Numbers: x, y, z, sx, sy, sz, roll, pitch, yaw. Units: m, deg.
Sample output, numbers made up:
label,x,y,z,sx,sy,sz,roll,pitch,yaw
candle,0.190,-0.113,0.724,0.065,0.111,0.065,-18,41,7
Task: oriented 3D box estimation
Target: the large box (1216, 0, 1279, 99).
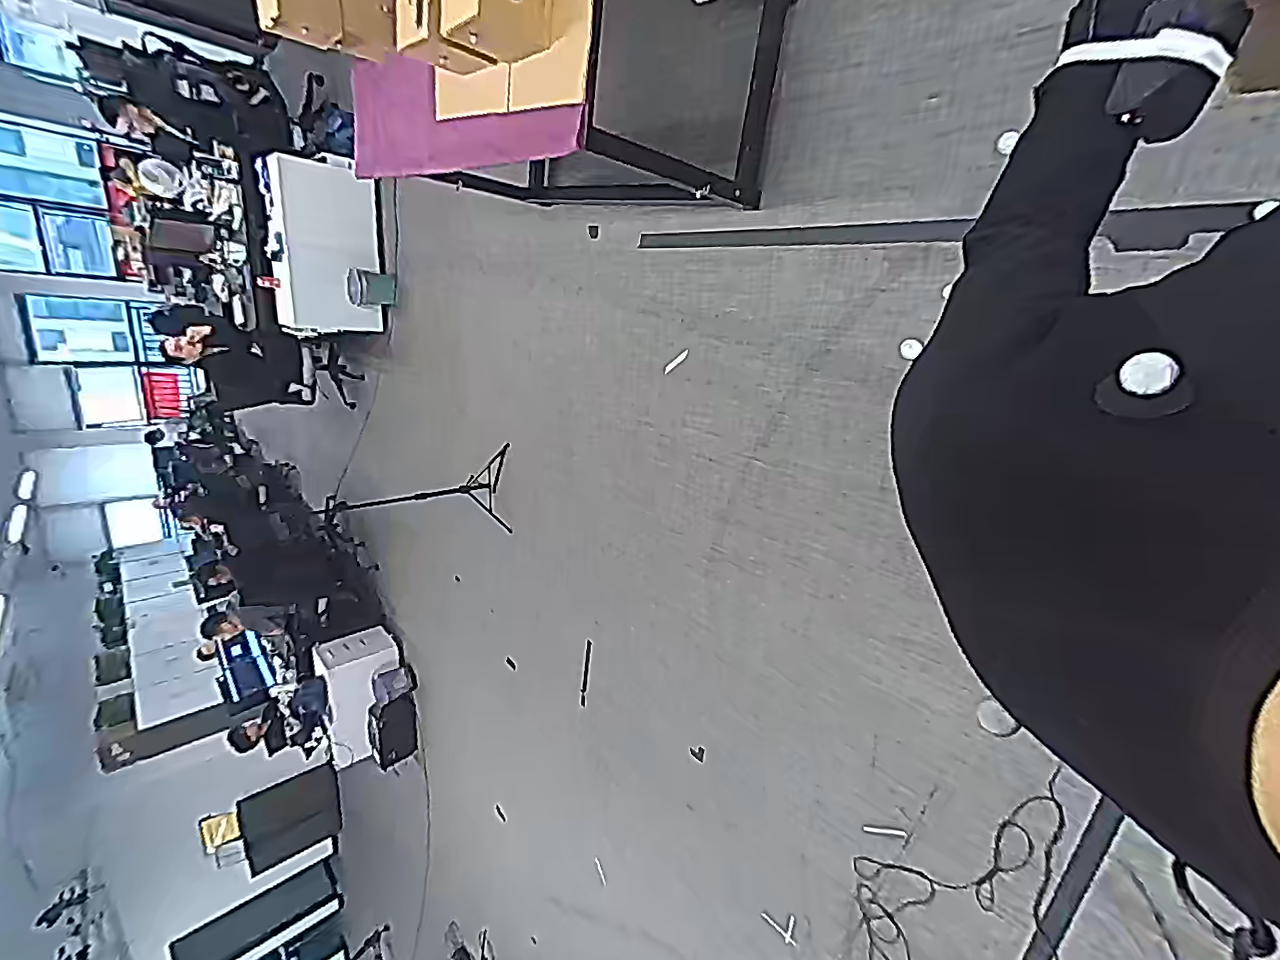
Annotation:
label,x,y,z,sx,sy,sz,roll,pitch,yaw
large box,0.603,-0.421,0.249,0.408,0.320,0.320,24,121,41
